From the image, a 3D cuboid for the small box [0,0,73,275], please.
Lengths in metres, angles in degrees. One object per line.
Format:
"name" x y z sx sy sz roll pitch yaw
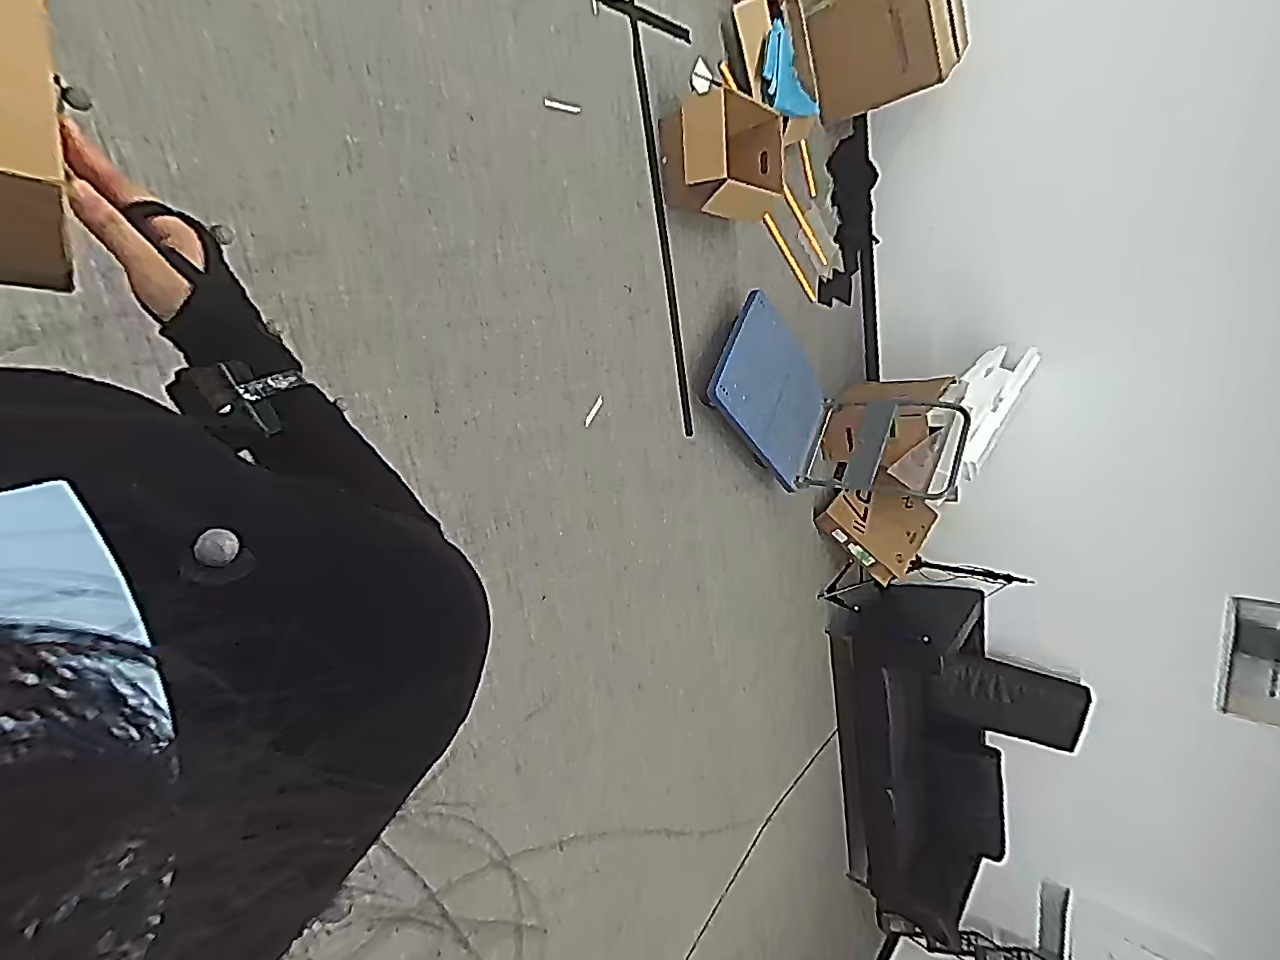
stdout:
"small box" -0.418 -0.229 0.279 0.168 0.176 0.179 -5 87 -46
